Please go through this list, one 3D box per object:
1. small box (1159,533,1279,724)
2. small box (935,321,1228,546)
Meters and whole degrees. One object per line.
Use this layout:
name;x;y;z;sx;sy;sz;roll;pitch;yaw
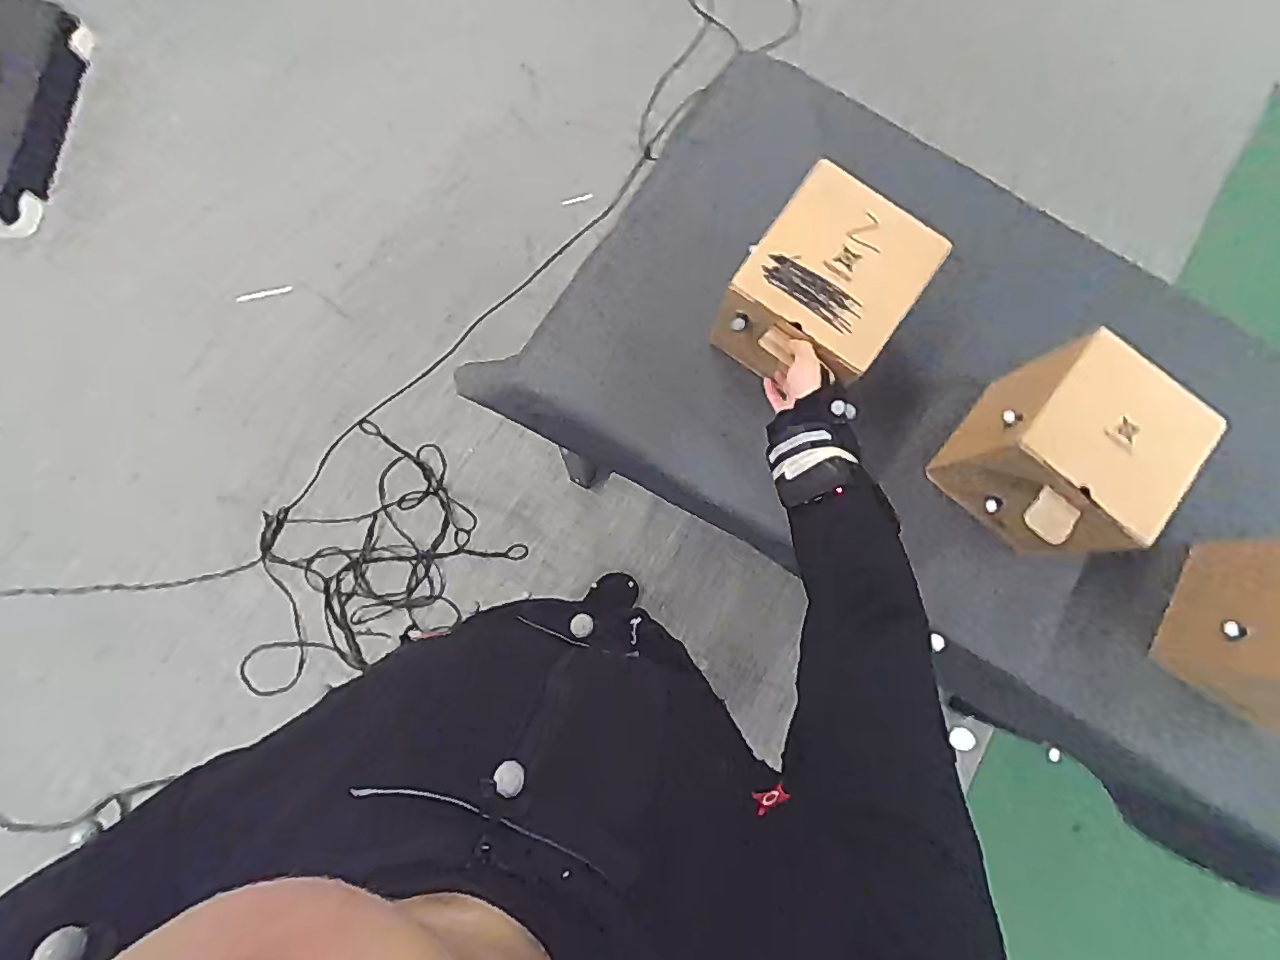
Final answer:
small box;0.755;0.174;0.610;0.168;0.176;0.179;32;78;1
small box;0.491;-0.041;0.629;0.168;0.176;0.179;40;80;3
